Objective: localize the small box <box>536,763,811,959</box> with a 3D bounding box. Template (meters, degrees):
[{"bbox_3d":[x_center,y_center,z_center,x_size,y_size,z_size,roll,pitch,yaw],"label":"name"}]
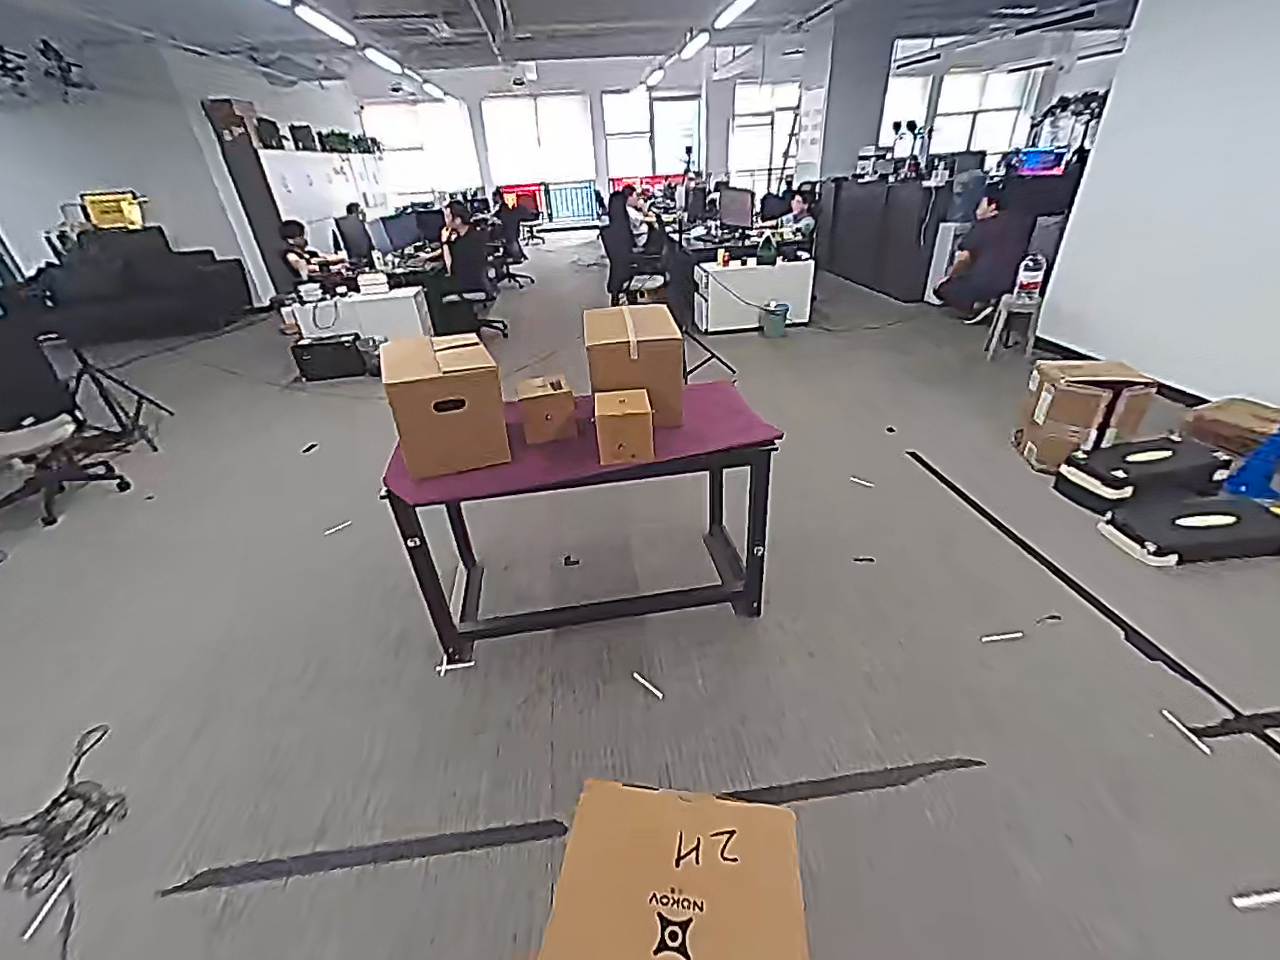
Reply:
[{"bbox_3d":[0.027,0.344,0.385,0.168,0.176,0.179,4,27,8],"label":"small box"}]
